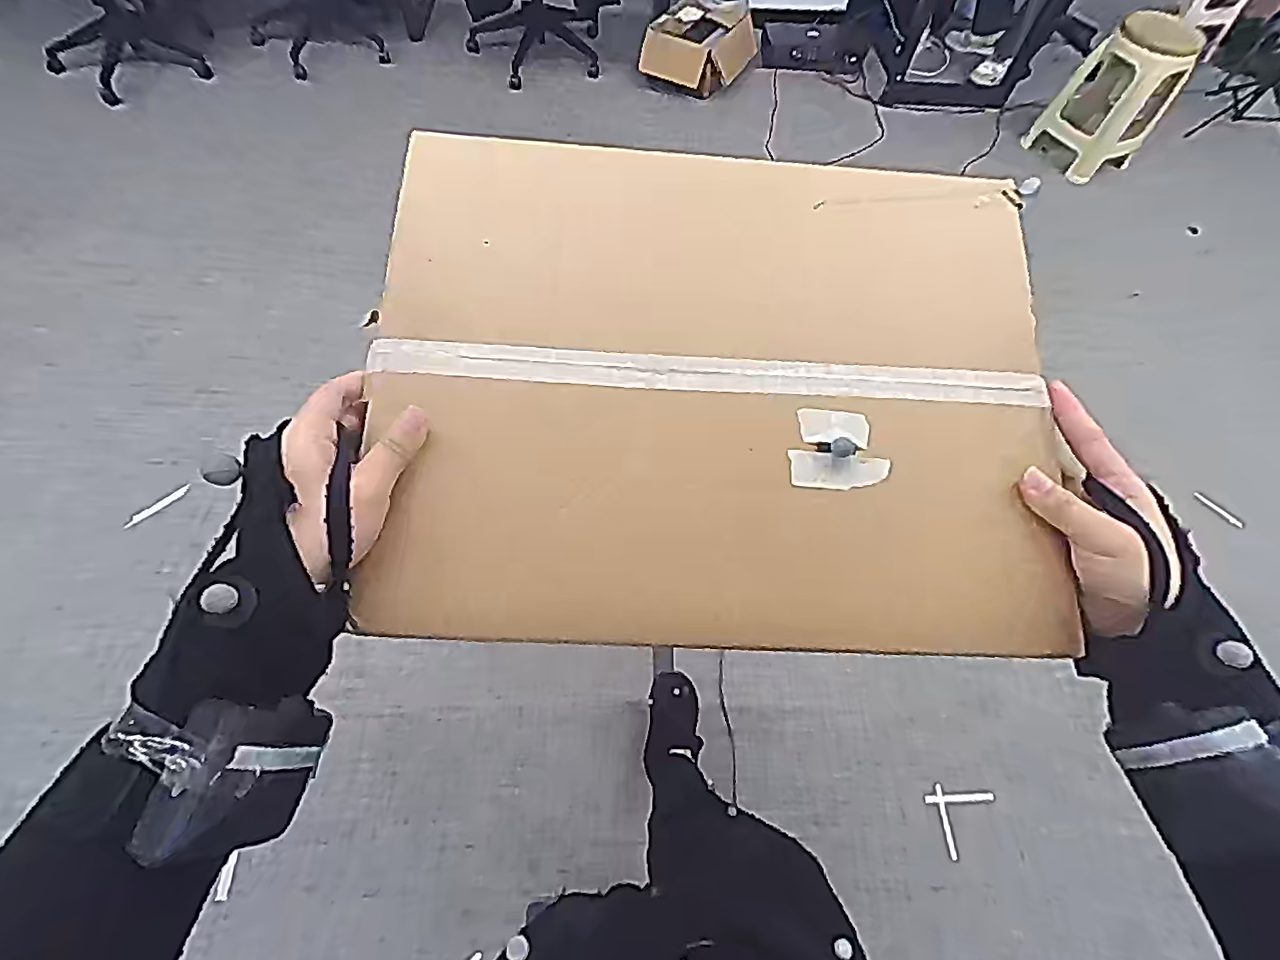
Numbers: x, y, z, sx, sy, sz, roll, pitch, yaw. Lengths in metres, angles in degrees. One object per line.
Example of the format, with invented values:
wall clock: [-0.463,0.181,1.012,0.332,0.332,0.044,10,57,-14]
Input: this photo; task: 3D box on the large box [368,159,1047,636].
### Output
large box: [0.037,-0.030,0.487,0.408,0.320,0.320,3,77,-3]

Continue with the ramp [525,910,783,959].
ramp: [0.031,1.231,0.742,0.509,0.206,0.991,-1,61,-2]
